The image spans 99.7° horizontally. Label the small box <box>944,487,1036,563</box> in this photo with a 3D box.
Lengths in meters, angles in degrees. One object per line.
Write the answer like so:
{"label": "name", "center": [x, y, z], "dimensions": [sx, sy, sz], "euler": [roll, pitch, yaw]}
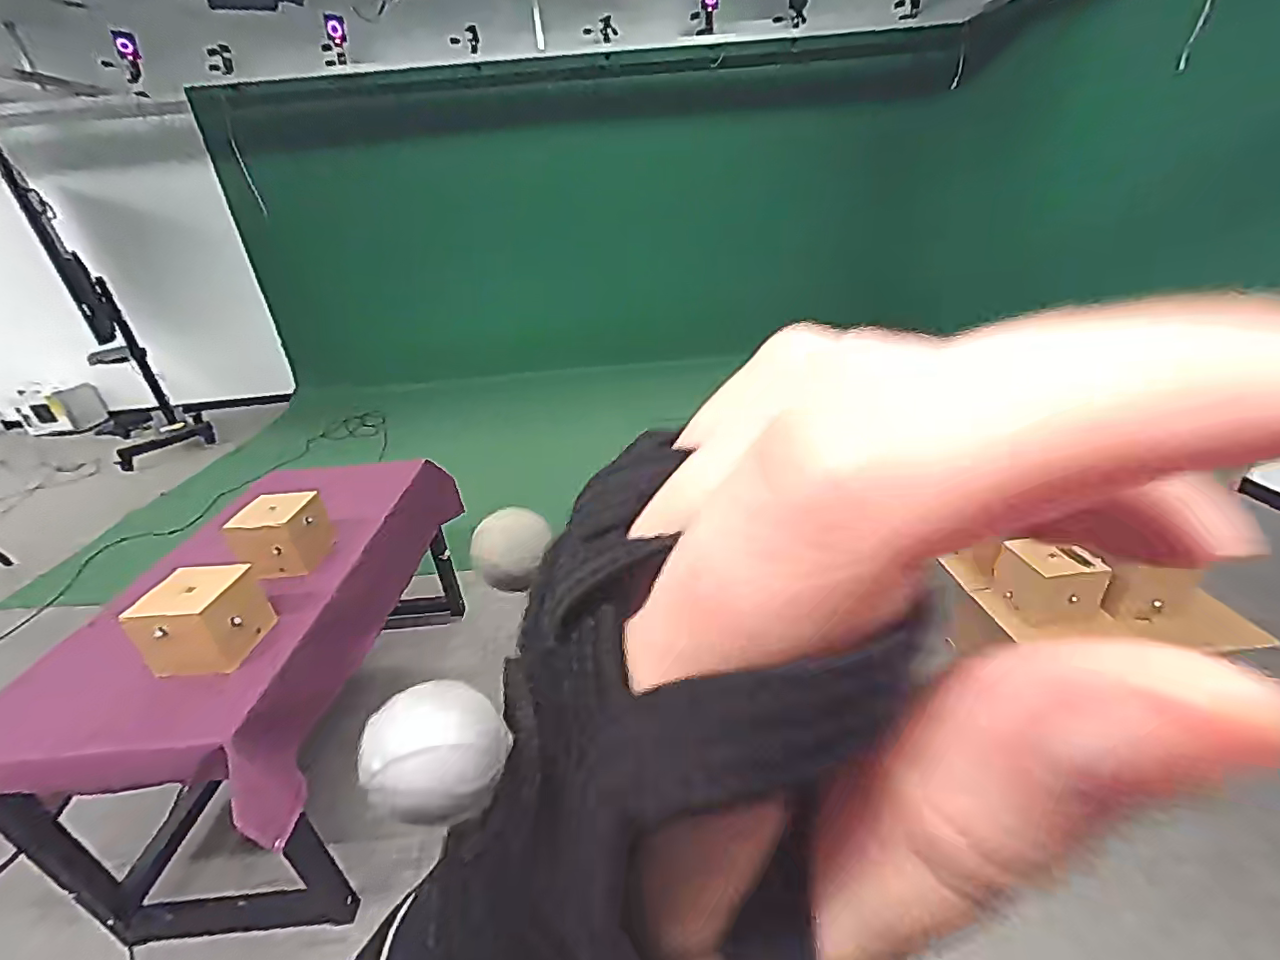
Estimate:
{"label": "small box", "center": [1.073, 0.143, 1.678], "dimensions": [0.179, 0.176, 0.168], "euler": [-8, 28, -5]}

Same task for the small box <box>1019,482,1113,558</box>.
{"label": "small box", "center": [1.288, 0.124, 1.670], "dimensions": [0.179, 0.176, 0.168], "euler": [-5, 26, -2]}

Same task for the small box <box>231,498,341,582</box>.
{"label": "small box", "center": [-0.963, 0.169, 1.494], "dimensions": [0.168, 0.176, 0.179], "euler": [-5, 27, 2]}

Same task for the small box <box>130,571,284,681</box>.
{"label": "small box", "center": [-0.941, 0.322, 1.198], "dimensions": [0.179, 0.176, 0.168], "euler": [-5, 28, 4]}
